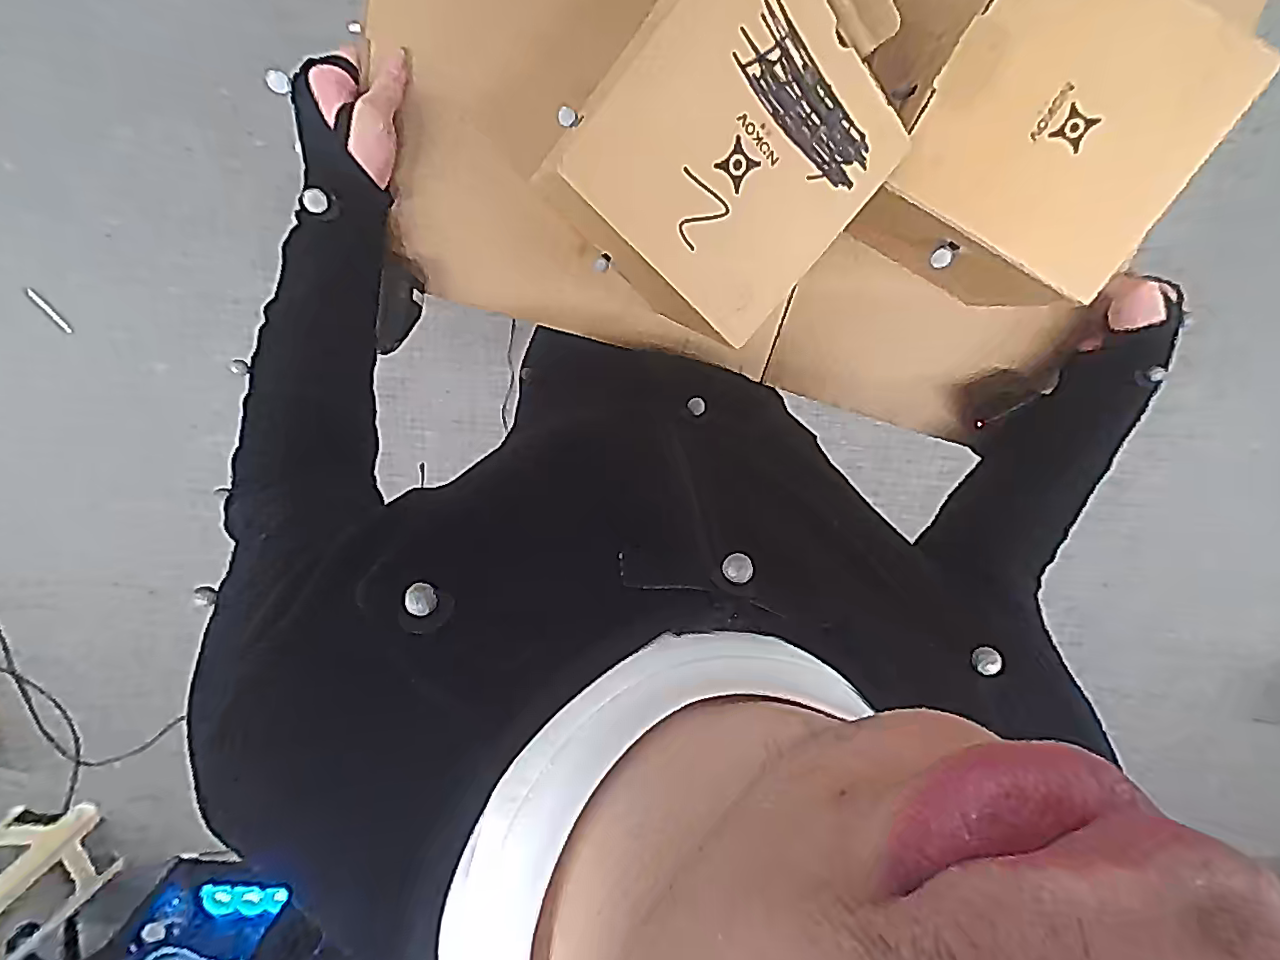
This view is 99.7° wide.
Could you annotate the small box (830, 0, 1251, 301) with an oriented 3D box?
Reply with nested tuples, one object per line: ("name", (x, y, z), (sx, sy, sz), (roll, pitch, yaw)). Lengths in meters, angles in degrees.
("small box", (0.286, -0.264, 0.439), (0.179, 0.176, 0.168), (29, 109, -2))
